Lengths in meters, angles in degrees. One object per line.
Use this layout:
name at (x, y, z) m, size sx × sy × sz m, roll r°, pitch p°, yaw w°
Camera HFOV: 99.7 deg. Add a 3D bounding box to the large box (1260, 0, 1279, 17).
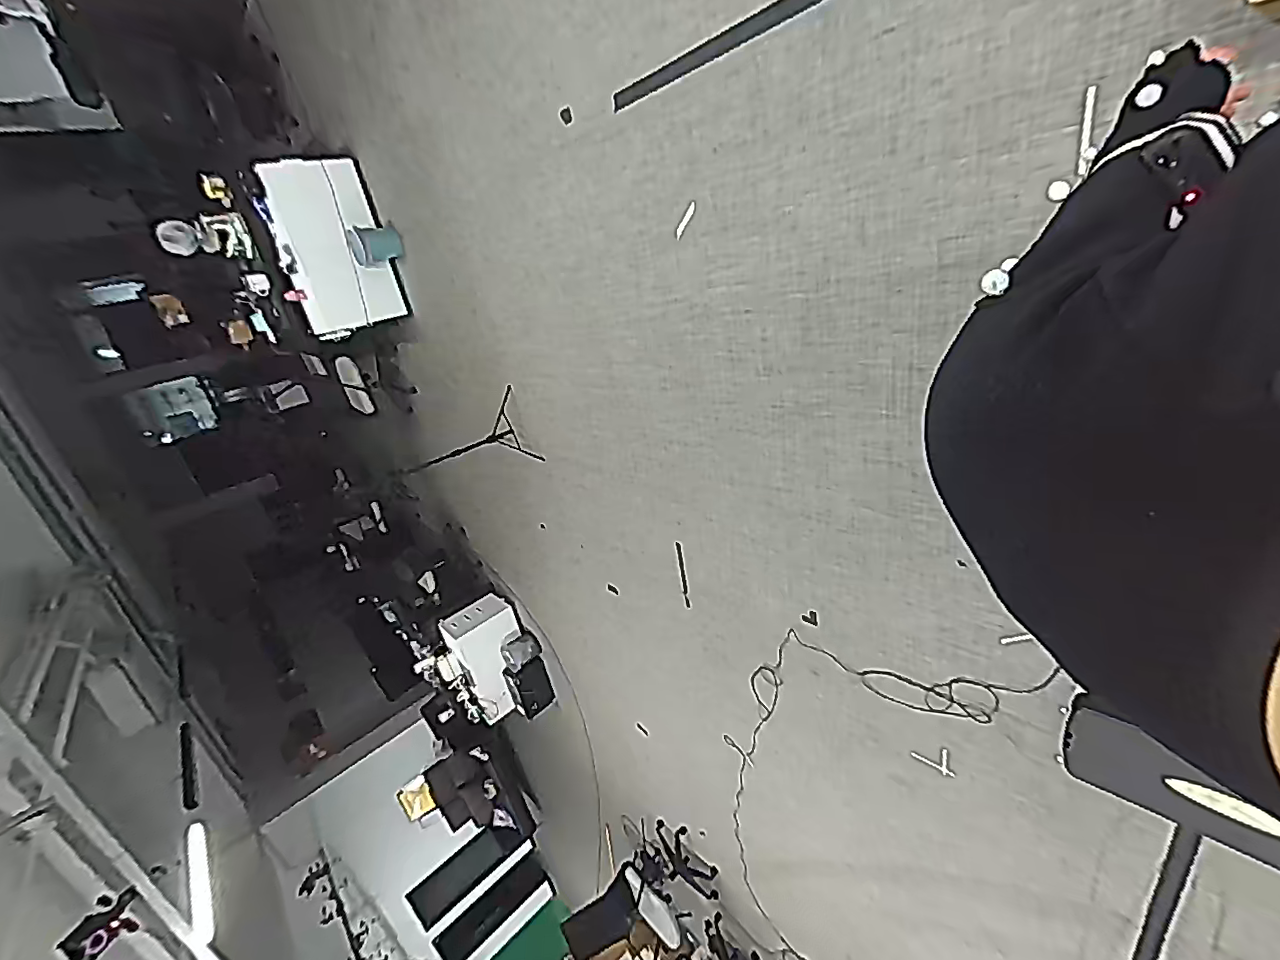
large box at (0.992, -0.780, 0.576) m, size 0.408 × 0.320 × 0.320 m, roll 14°, pitch 125°, yaw 46°
